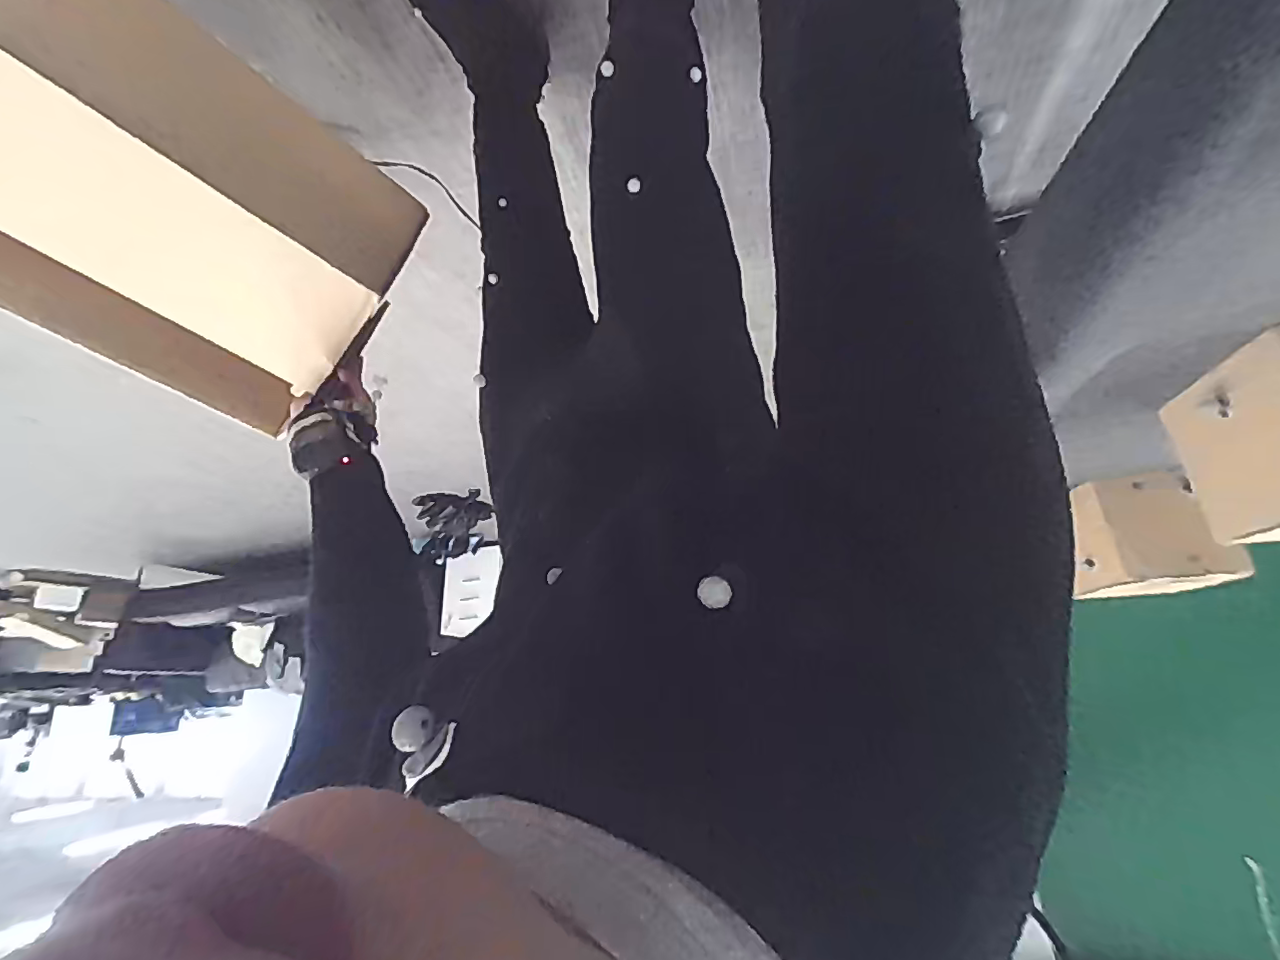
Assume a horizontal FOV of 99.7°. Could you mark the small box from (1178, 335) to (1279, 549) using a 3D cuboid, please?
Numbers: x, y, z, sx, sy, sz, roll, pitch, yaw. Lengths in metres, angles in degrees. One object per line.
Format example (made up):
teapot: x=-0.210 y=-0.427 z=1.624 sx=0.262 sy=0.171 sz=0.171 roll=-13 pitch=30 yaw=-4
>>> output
small box: x=0.671 y=-0.040 z=0.509 sx=0.168 sy=0.176 sz=0.179 roll=-8 pitch=159 yaw=13

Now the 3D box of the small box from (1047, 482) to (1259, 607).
small box: x=0.816 y=0.106 z=0.888 sx=0.168 sy=0.176 sz=0.179 roll=-6 pitch=159 yaw=10
